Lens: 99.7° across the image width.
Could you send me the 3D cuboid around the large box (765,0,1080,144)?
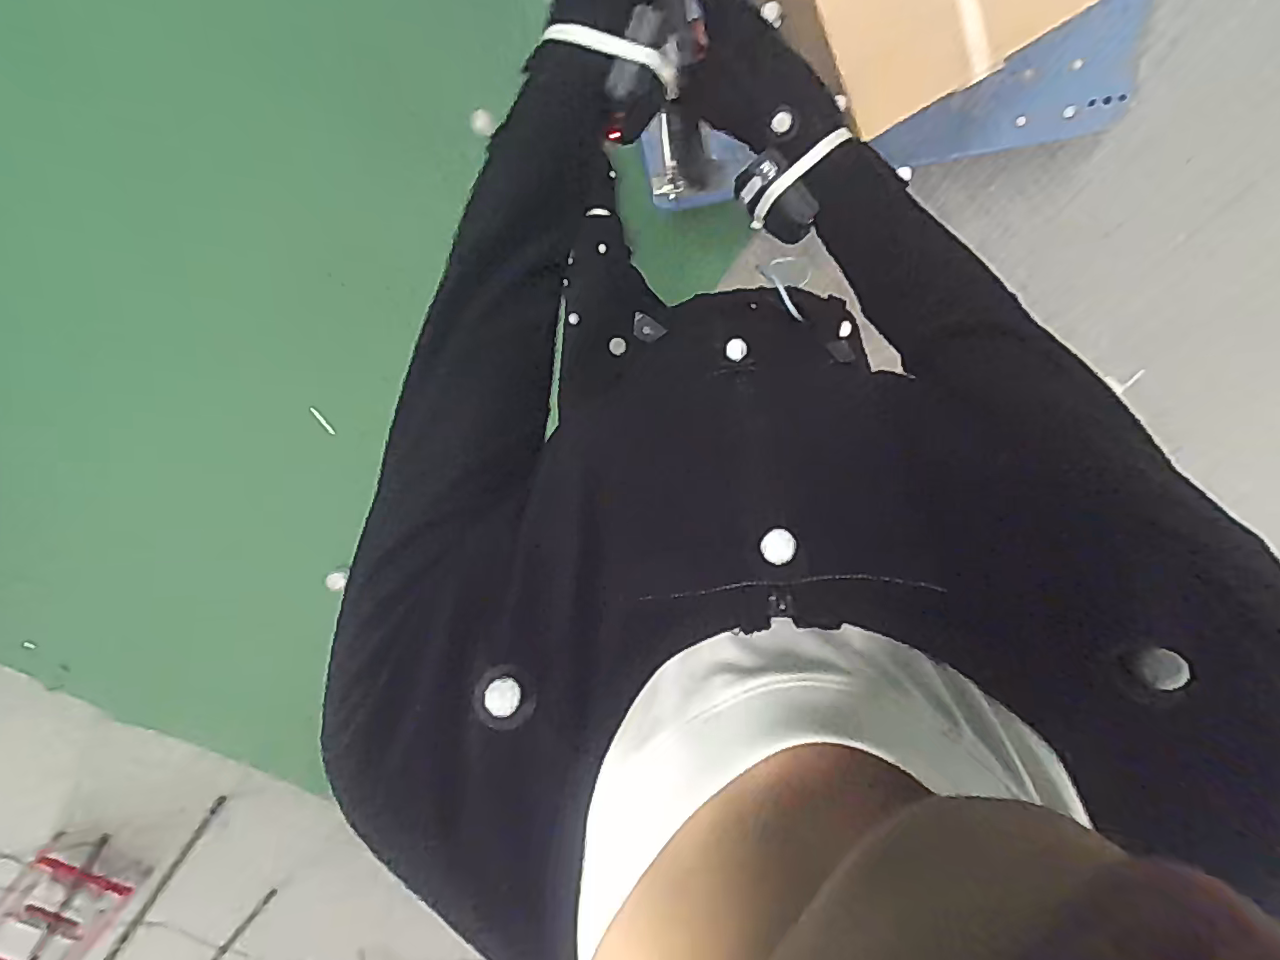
[{"bbox_3d":[0.354,-0.768,0.762,0.320,0.320,0.408,-25,113,15],"label":"large box"}]
